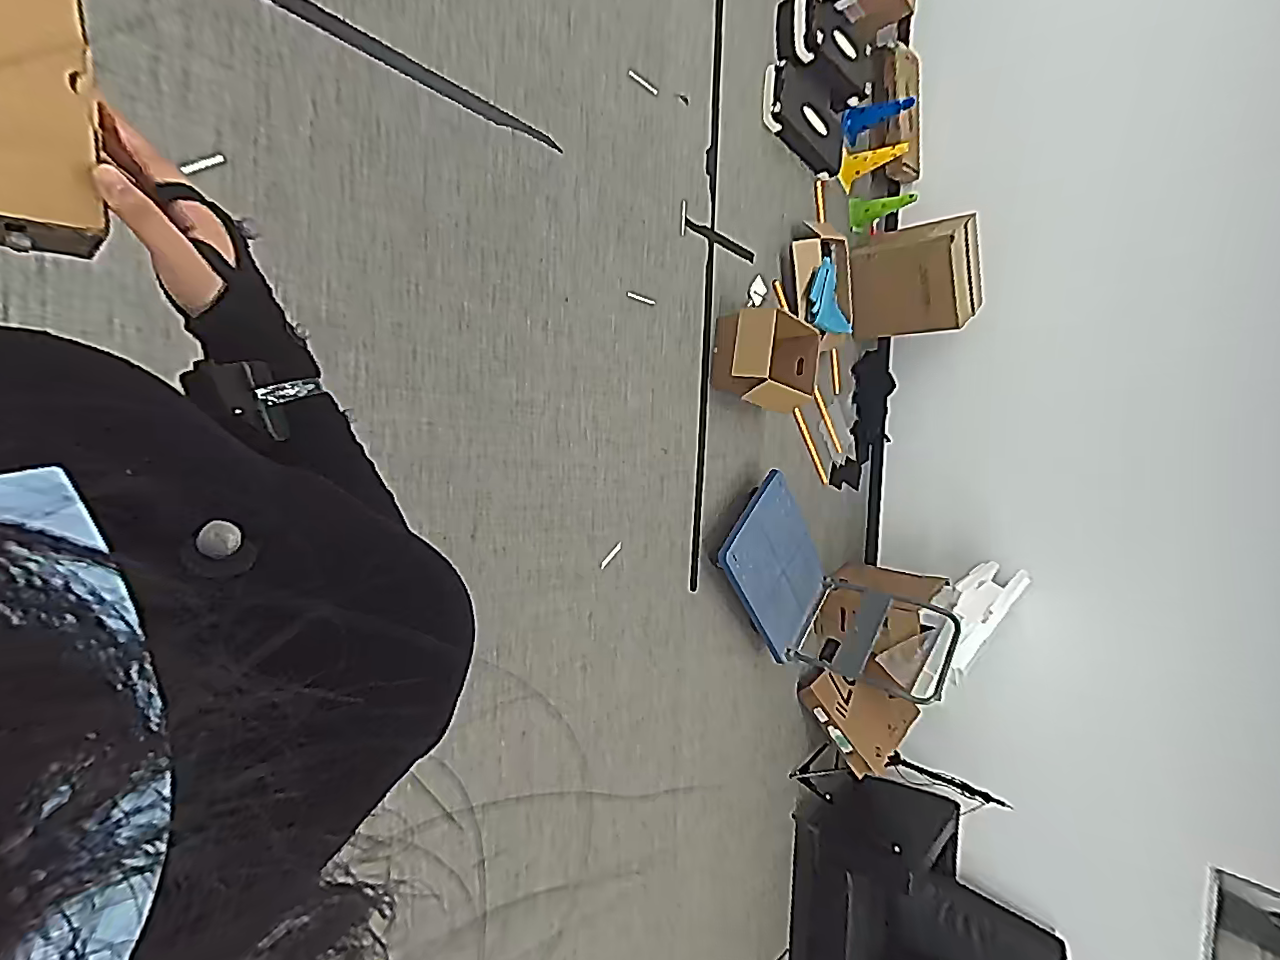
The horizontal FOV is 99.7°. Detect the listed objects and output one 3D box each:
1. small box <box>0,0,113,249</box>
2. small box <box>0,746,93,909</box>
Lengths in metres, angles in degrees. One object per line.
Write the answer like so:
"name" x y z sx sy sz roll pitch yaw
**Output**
"small box" -0.439 -0.240 0.311 0.179 0.176 0.168 -9 107 -48
"small box" -1.010 0.554 0.870 0.168 0.176 0.179 7 90 -46
